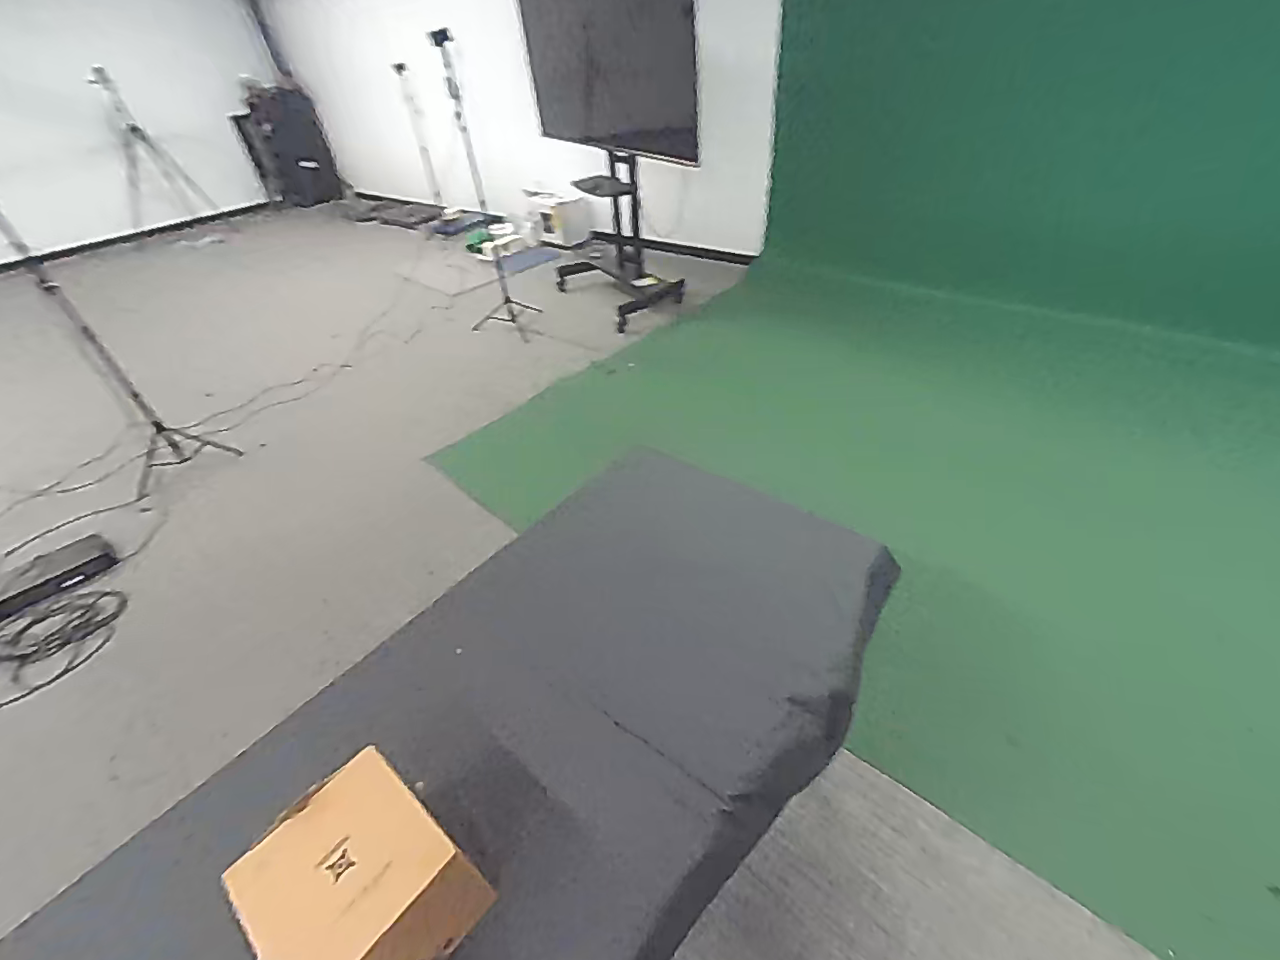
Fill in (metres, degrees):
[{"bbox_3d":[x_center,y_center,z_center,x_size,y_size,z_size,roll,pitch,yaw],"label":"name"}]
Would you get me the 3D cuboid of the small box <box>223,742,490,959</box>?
[{"bbox_3d":[-0.294,0.437,0.587,0.179,0.176,0.168,26,49,31],"label":"small box"}]
